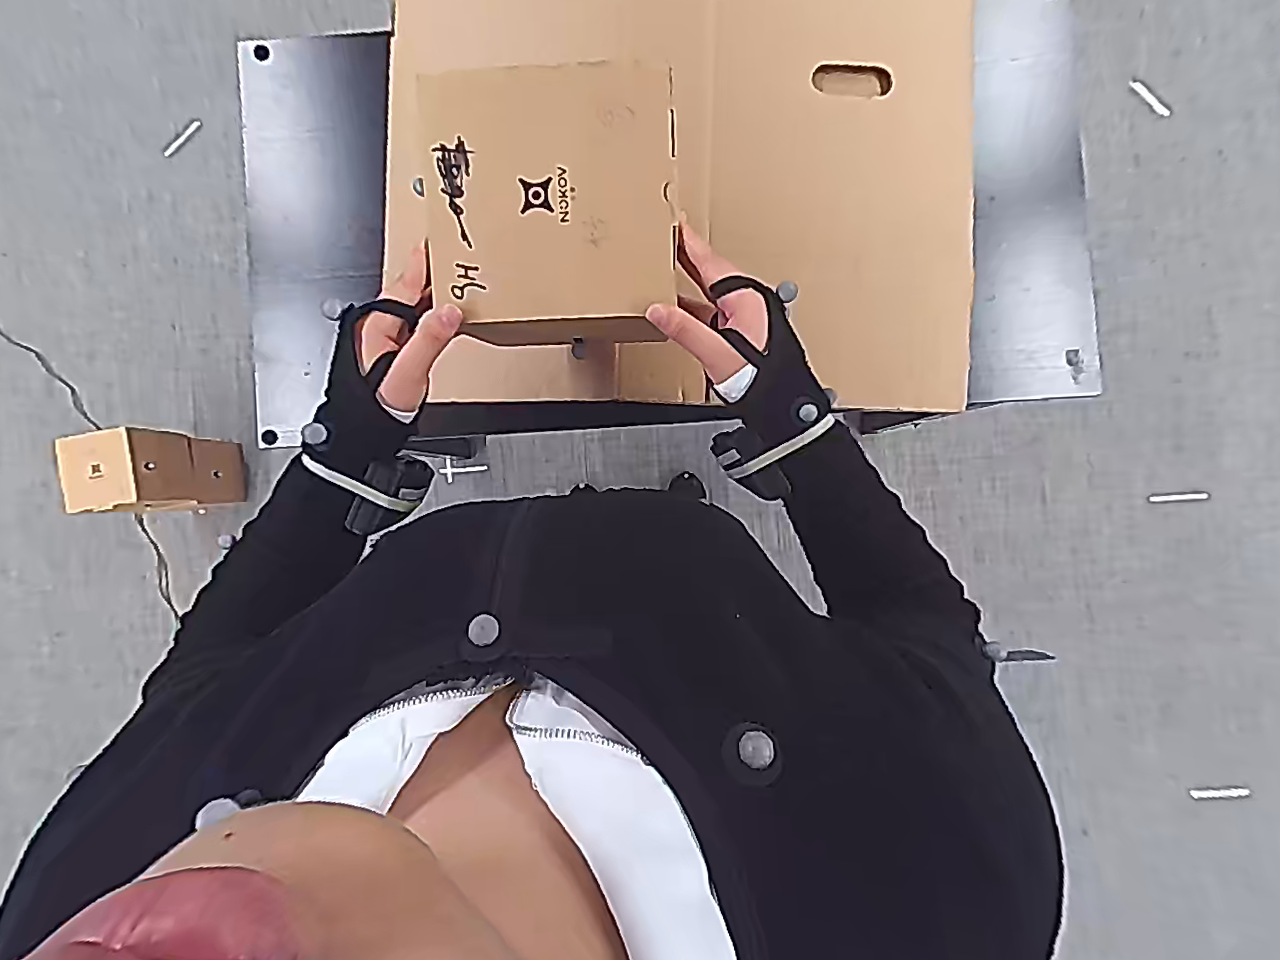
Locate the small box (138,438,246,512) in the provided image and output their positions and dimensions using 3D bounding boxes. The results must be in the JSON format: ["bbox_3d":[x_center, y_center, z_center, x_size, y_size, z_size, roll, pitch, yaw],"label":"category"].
[{"bbox_3d":[-1.209,-0.011,1.457,0.168,0.176,0.179,-8,90,1],"label":"small box"}]

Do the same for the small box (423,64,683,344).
[{"bbox_3d":[-0.060,-0.210,0.455,0.179,0.176,0.168,-2,97,0],"label":"small box"}]

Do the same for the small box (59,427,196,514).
[{"bbox_3d":[-1.214,-0.020,1.294,0.168,0.176,0.179,-10,88,1],"label":"small box"}]
